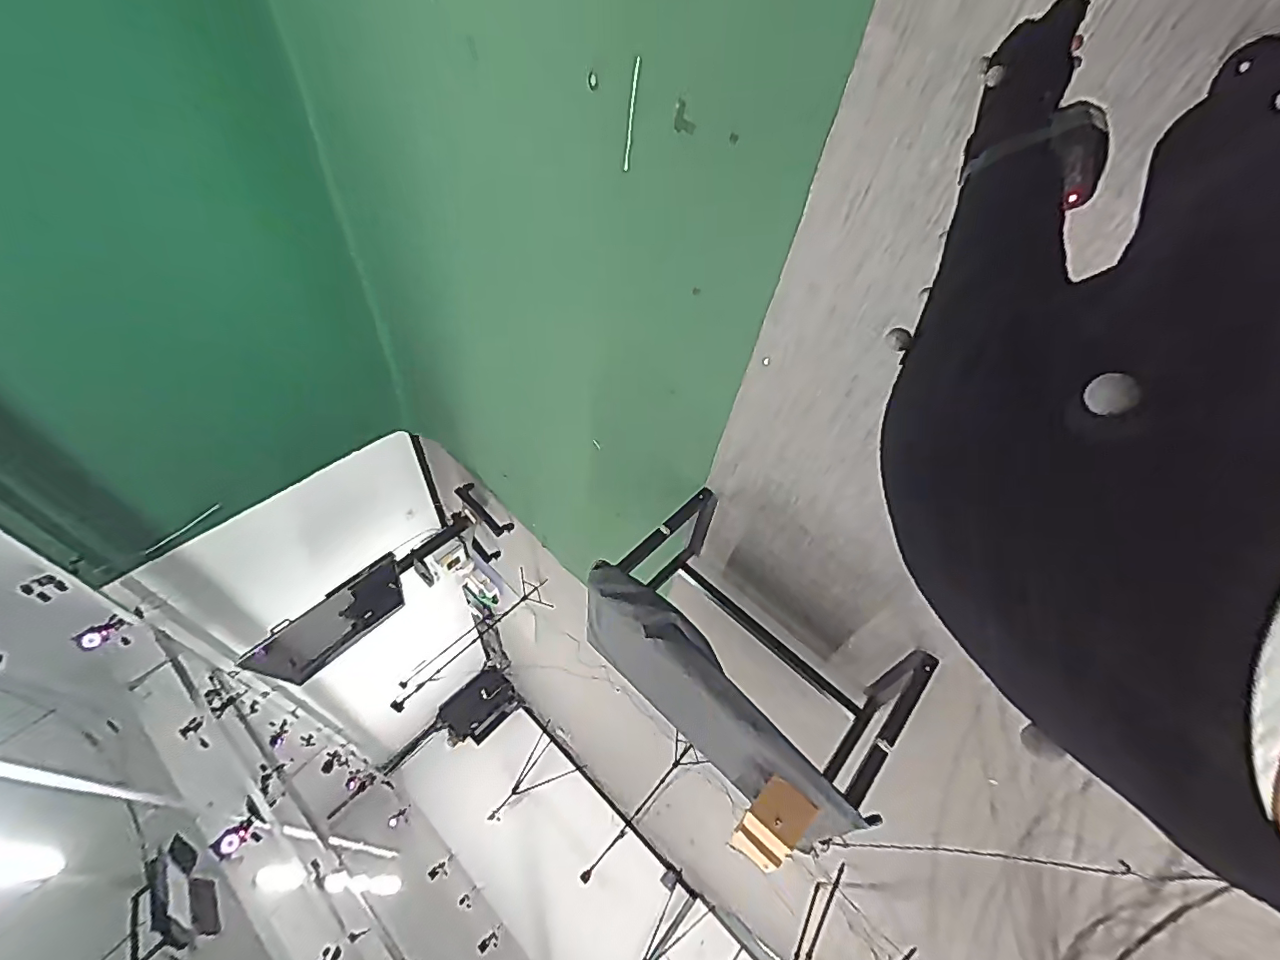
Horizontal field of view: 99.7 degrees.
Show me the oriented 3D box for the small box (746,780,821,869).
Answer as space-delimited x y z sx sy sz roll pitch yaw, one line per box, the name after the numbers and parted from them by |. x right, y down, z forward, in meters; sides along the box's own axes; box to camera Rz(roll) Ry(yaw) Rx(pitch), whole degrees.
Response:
0.489 1.171 1.844 0.179 0.176 0.168 34 145 31 | small box

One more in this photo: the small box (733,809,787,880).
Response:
0.487 1.362 2.045 0.179 0.176 0.168 38 146 23 | small box
